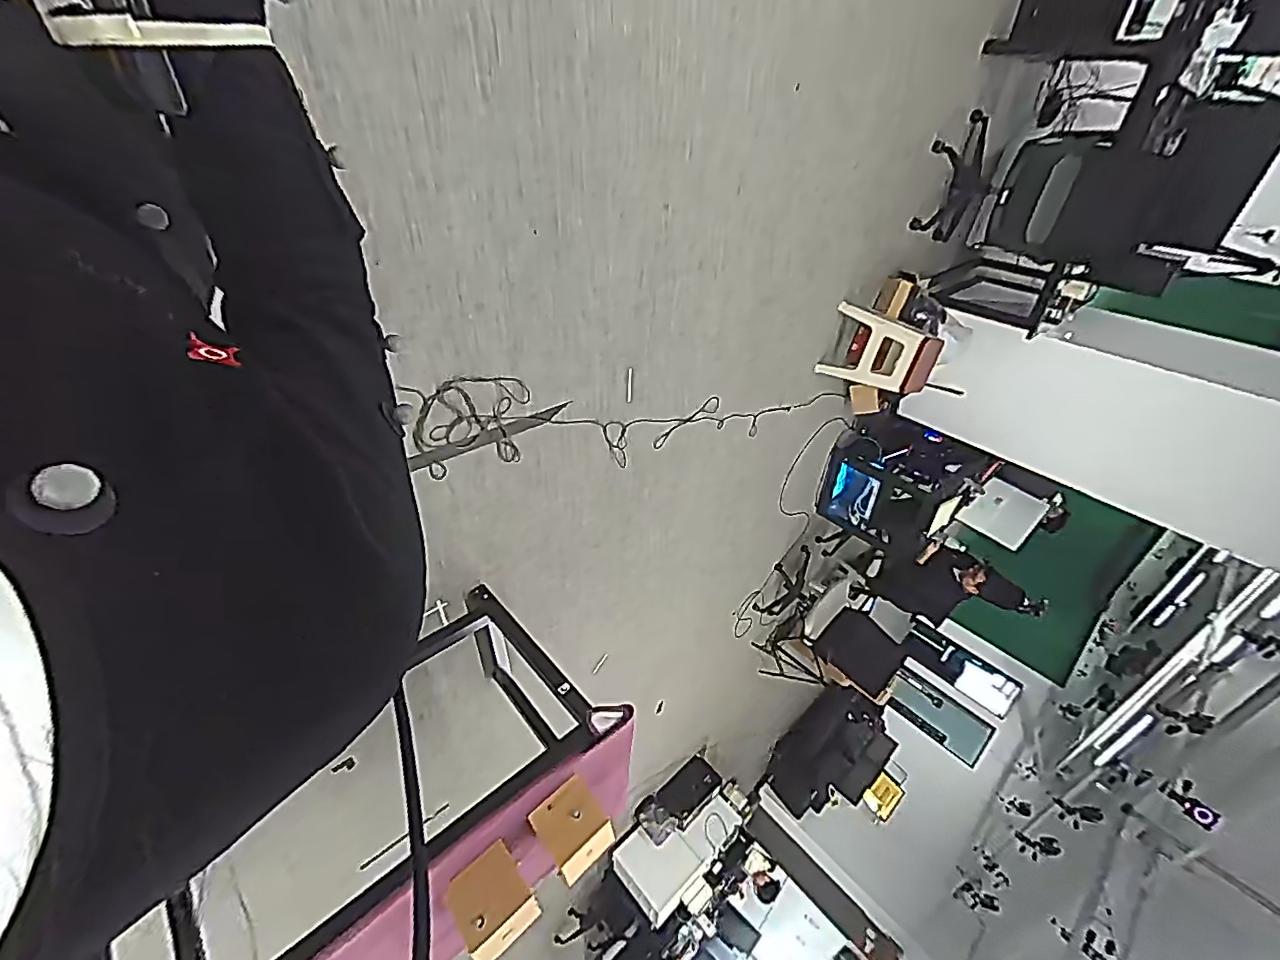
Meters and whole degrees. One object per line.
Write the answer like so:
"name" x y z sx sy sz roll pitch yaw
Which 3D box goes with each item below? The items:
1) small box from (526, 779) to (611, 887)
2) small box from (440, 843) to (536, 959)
"small box" -0.203 0.985 1.522 0.168 0.176 0.179 -32 139 -29
"small box" -0.391 1.085 1.379 0.179 0.176 0.168 -30 138 -31
